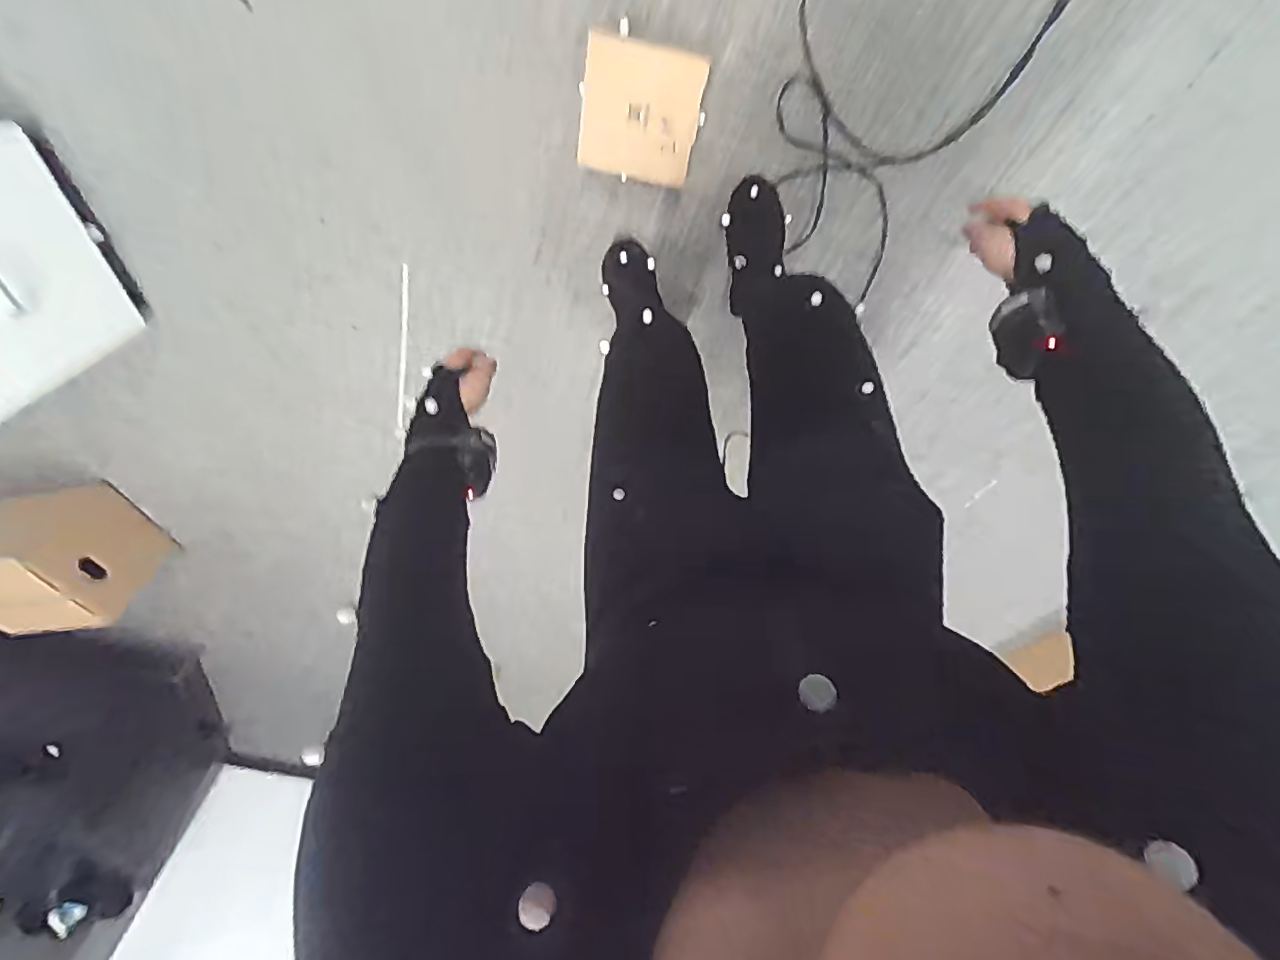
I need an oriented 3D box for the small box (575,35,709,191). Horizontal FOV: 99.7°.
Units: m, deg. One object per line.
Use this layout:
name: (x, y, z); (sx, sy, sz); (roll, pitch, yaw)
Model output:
small box: (0.003, -0.587, 0.862); (0.179, 0.176, 0.168); (10, 131, -4)
